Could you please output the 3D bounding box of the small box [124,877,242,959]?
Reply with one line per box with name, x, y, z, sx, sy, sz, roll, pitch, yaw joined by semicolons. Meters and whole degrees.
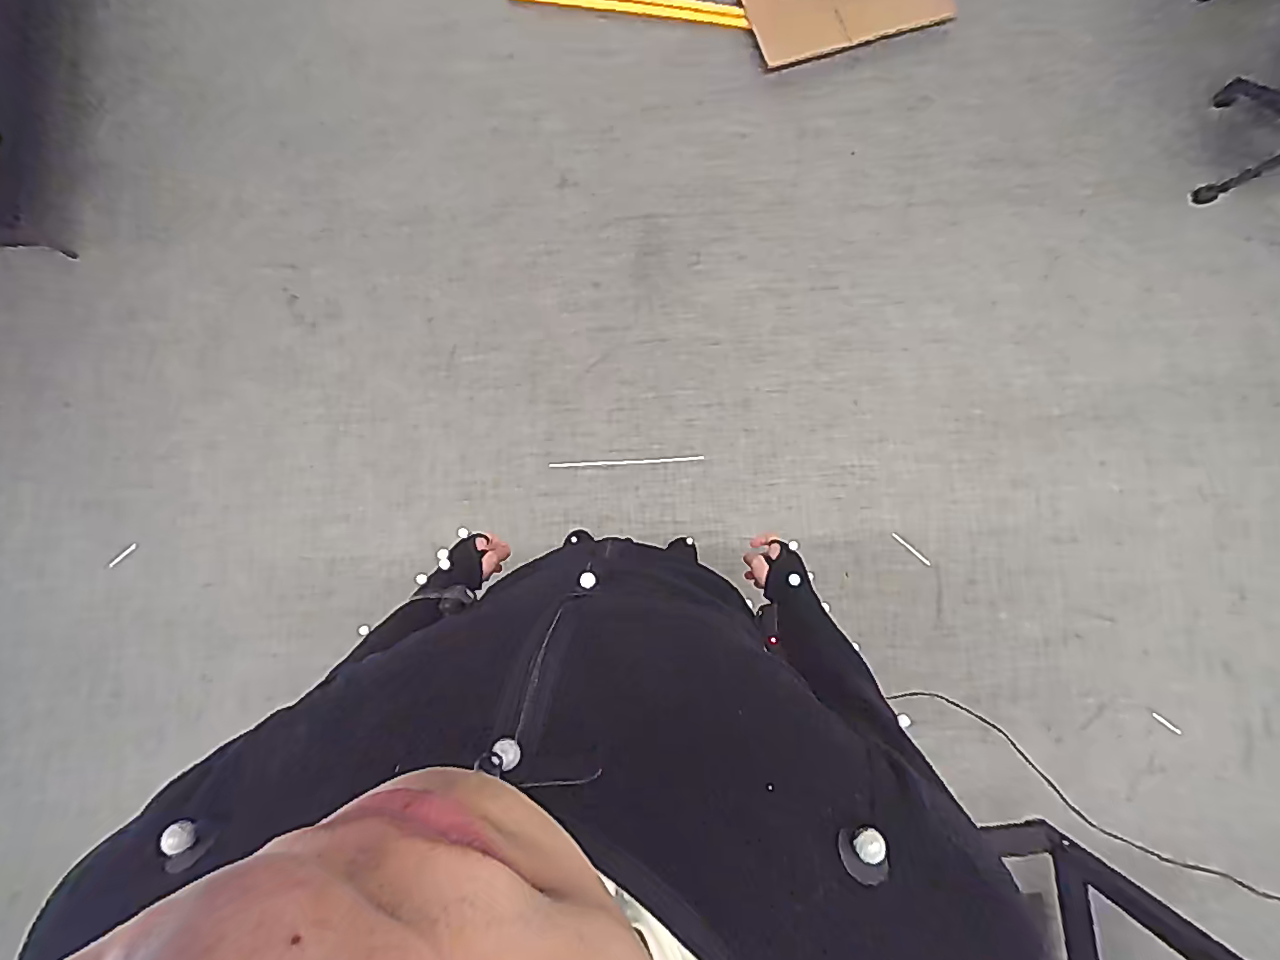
small box;-1.198;1.186;1.427;0.179;0.176;0.168;1;83;0
